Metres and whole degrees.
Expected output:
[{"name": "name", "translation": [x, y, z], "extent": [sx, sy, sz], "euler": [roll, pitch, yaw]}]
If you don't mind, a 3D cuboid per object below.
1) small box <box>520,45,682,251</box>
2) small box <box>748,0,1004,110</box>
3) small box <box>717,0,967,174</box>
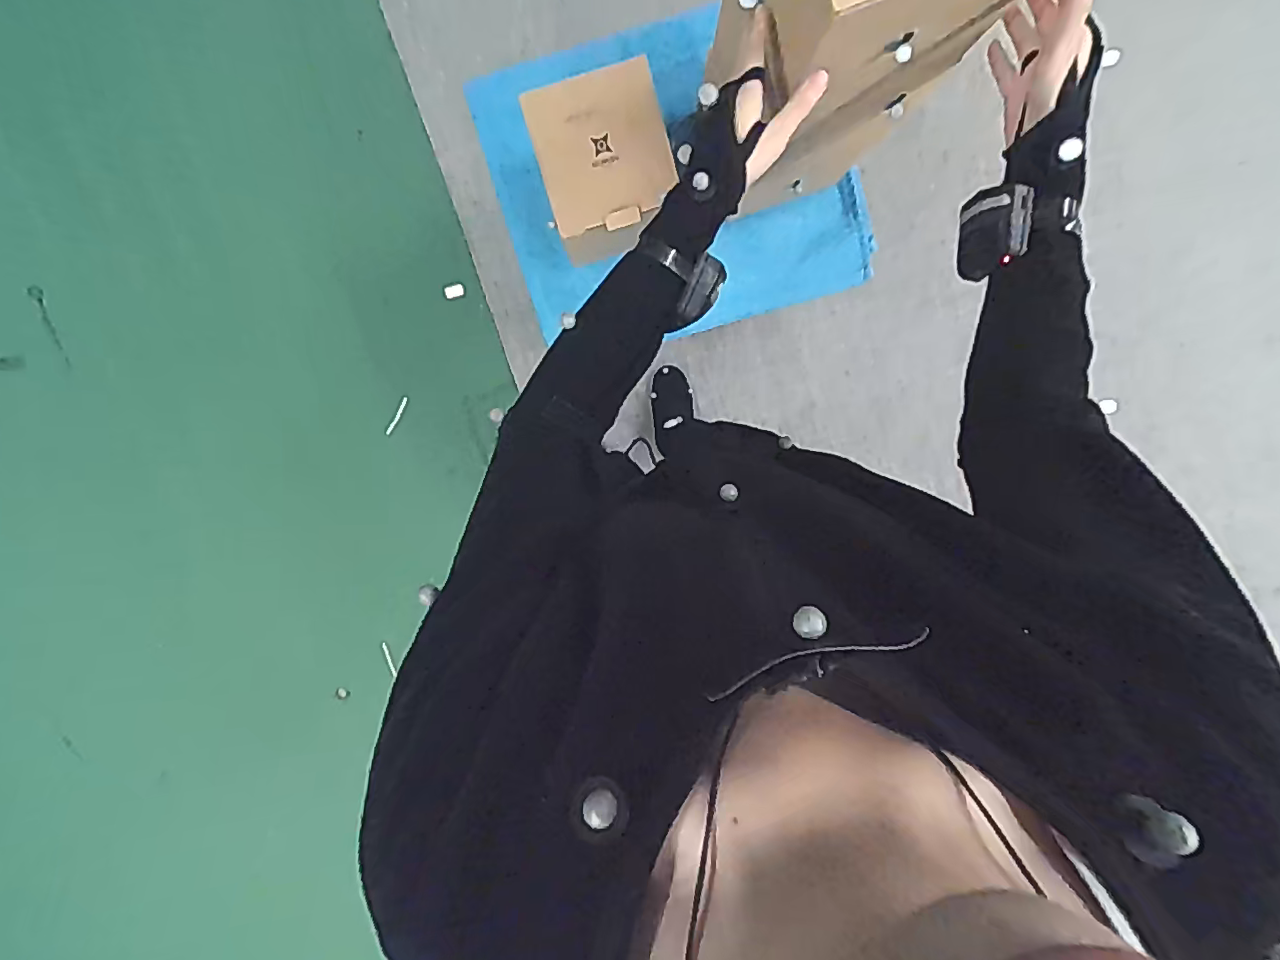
[{"name": "small box", "translation": [-0.046, -0.430, 0.737], "extent": [0.168, 0.176, 0.179], "euler": [-15, 100, 1]}, {"name": "small box", "translation": [0.184, -0.424, 0.404], "extent": [0.179, 0.176, 0.168], "euler": [-17, 100, 5]}, {"name": "small box", "translation": [0.194, -0.457, 0.565], "extent": [0.179, 0.176, 0.168], "euler": [-18, 100, 4]}]
